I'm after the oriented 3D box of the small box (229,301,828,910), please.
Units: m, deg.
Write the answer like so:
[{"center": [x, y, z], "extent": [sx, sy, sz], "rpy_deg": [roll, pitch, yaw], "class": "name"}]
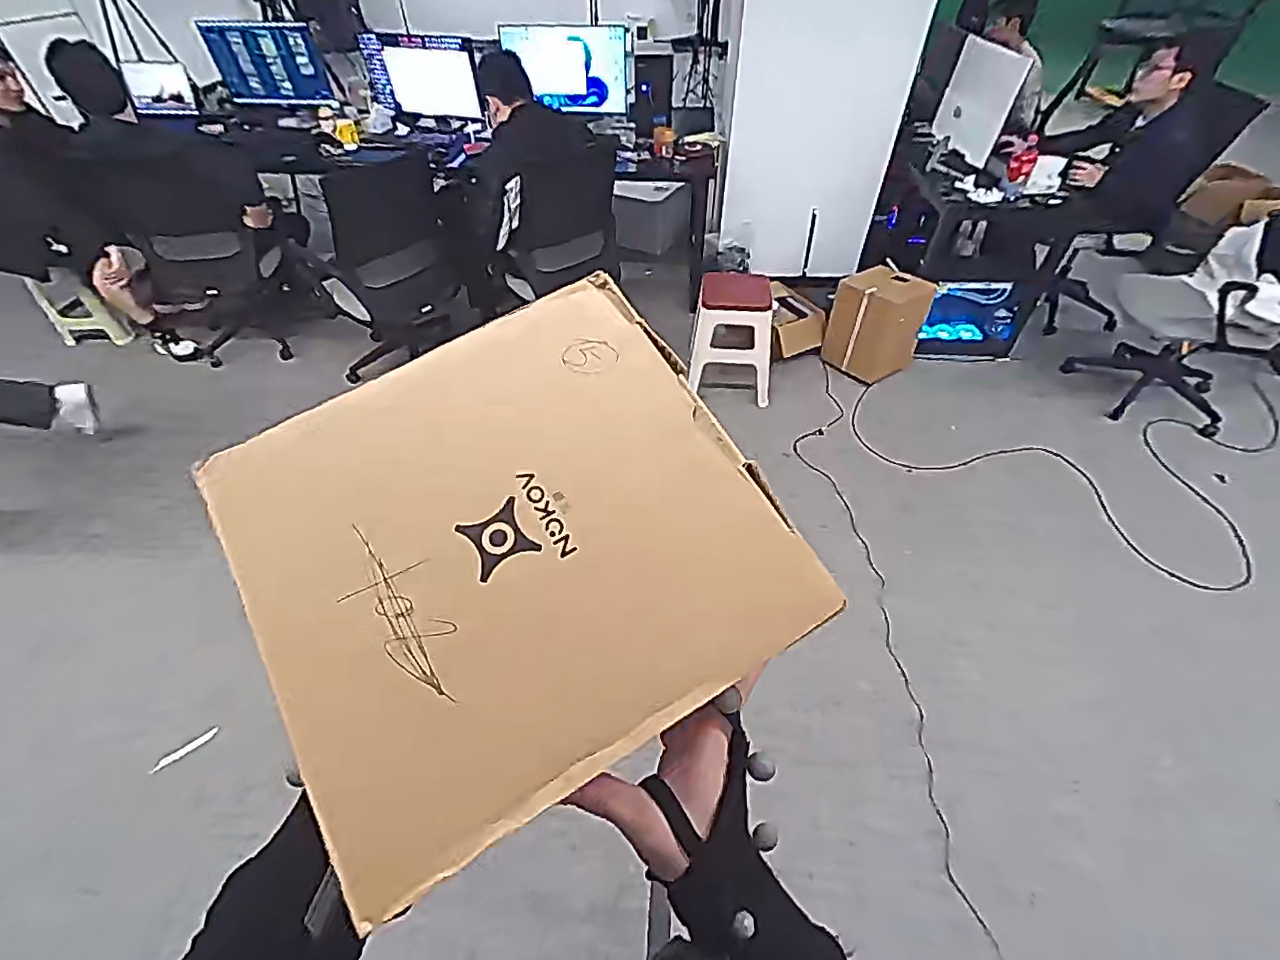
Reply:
[{"center": [-0.045, 0.053, 0.277], "extent": [0.179, 0.176, 0.168], "rpy_deg": [-31, 72, -10], "class": "small box"}]
